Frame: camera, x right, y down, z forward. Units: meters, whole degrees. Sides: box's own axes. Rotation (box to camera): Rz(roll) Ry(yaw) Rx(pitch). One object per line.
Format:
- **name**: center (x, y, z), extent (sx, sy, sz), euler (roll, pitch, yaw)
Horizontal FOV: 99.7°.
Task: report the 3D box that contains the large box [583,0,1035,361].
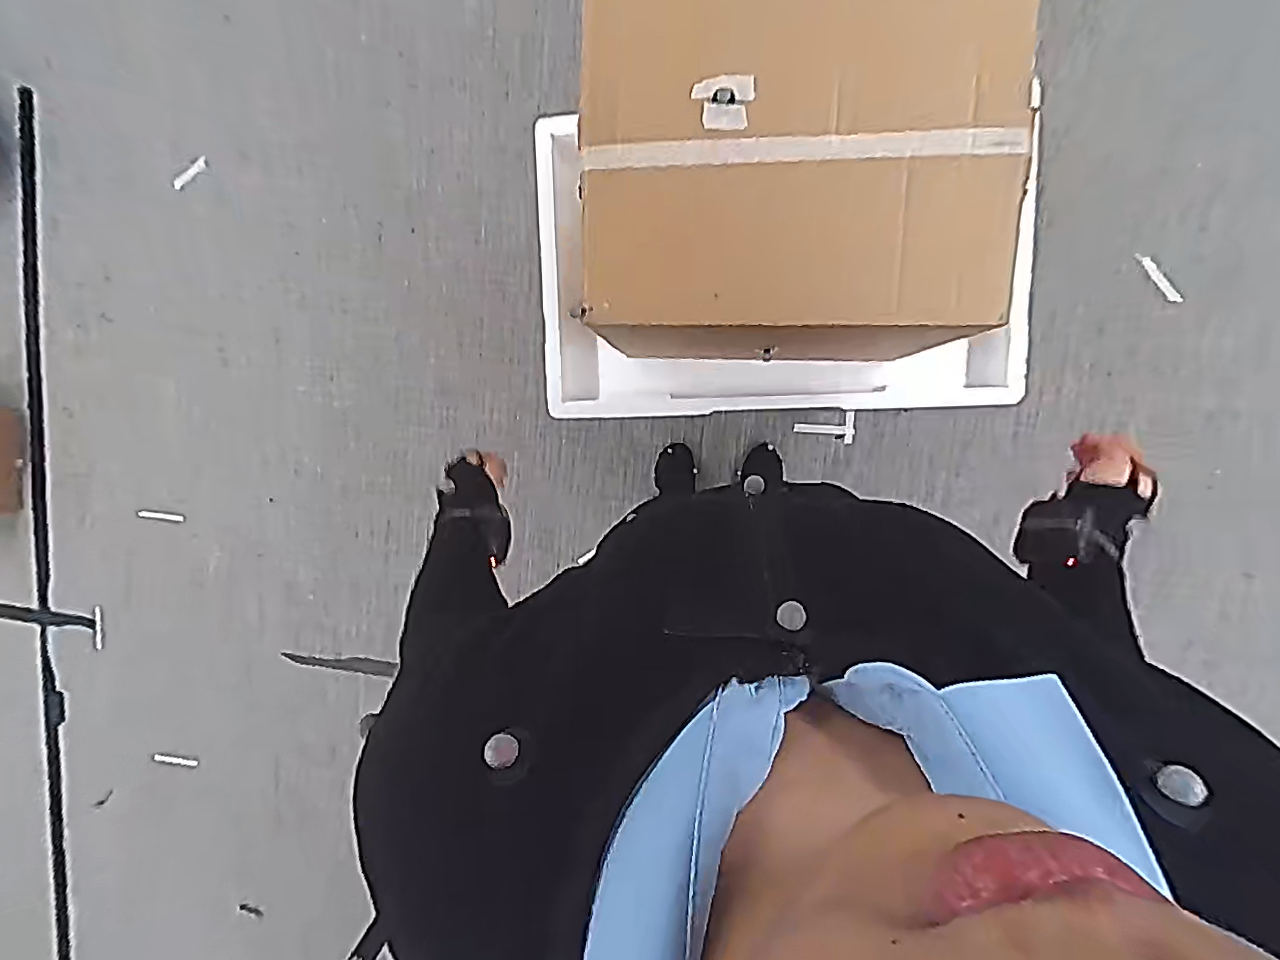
- **large box**: center (0.164, -0.314, 0.649), extent (0.408, 0.320, 0.320), euler (1, 95, 8)
